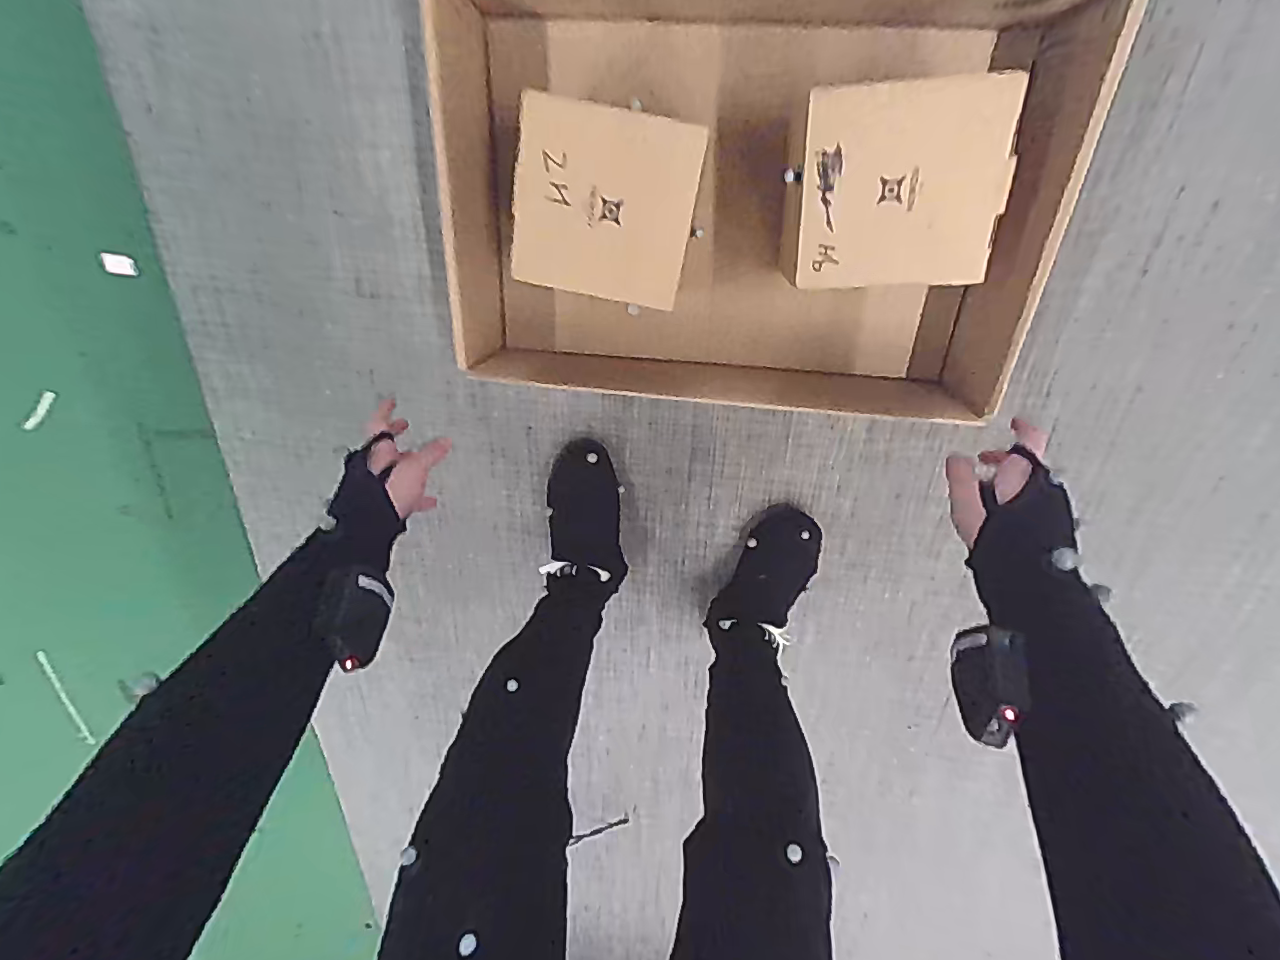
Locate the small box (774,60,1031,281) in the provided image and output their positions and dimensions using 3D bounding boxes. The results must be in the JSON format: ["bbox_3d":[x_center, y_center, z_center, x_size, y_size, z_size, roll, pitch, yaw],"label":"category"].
[{"bbox_3d":[0.237,-0.299,0.544,0.179,0.176,0.168,1,116,8],"label":"small box"}]
